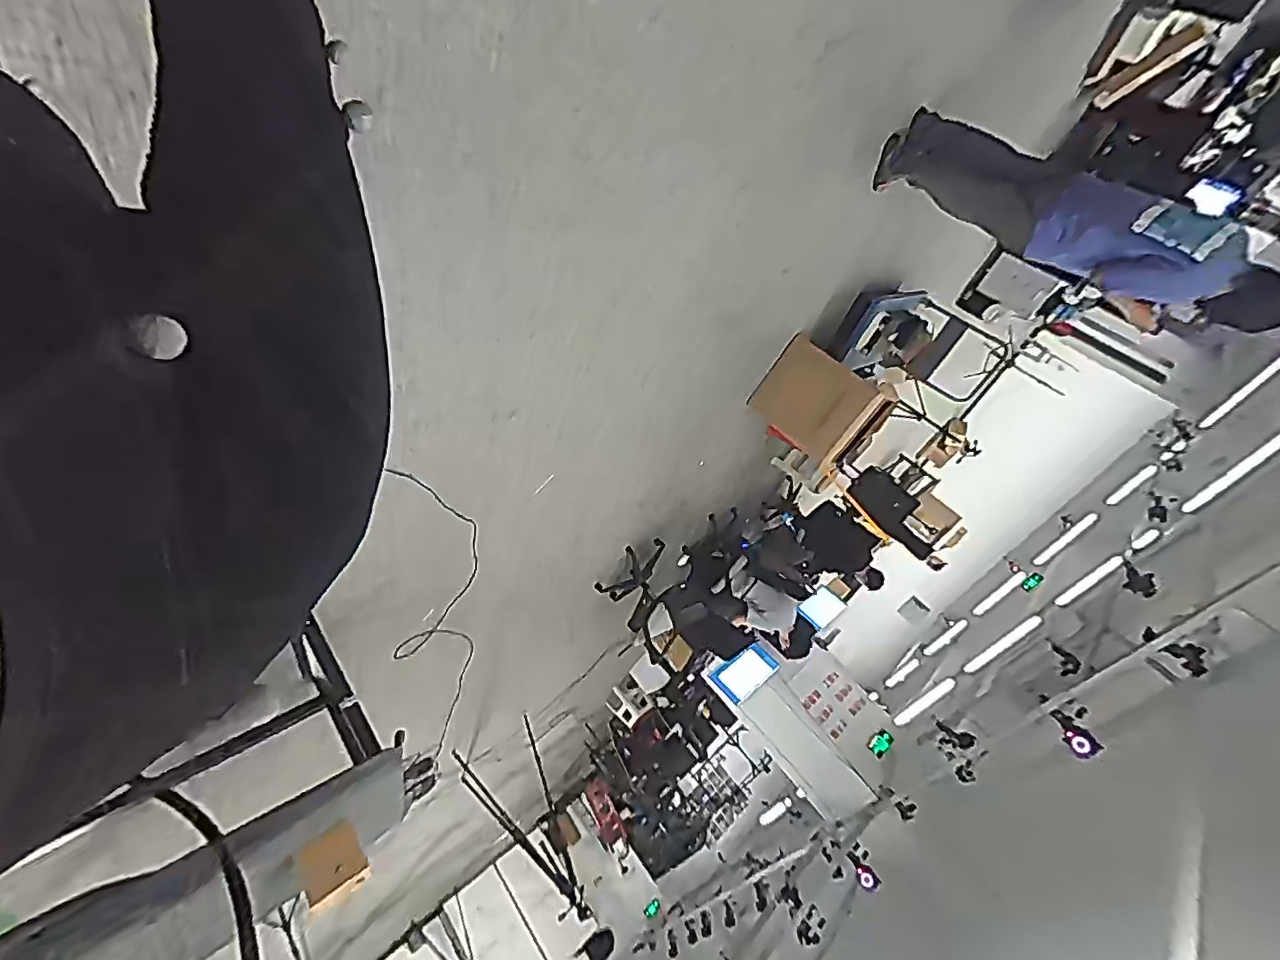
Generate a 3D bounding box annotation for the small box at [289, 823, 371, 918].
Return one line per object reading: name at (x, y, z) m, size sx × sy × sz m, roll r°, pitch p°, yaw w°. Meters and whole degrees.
small box at (-0.997, 1.254, 1.745) m, size 0.179 × 0.176 × 0.168 m, roll -23°, pitch 147°, yaw -37°
